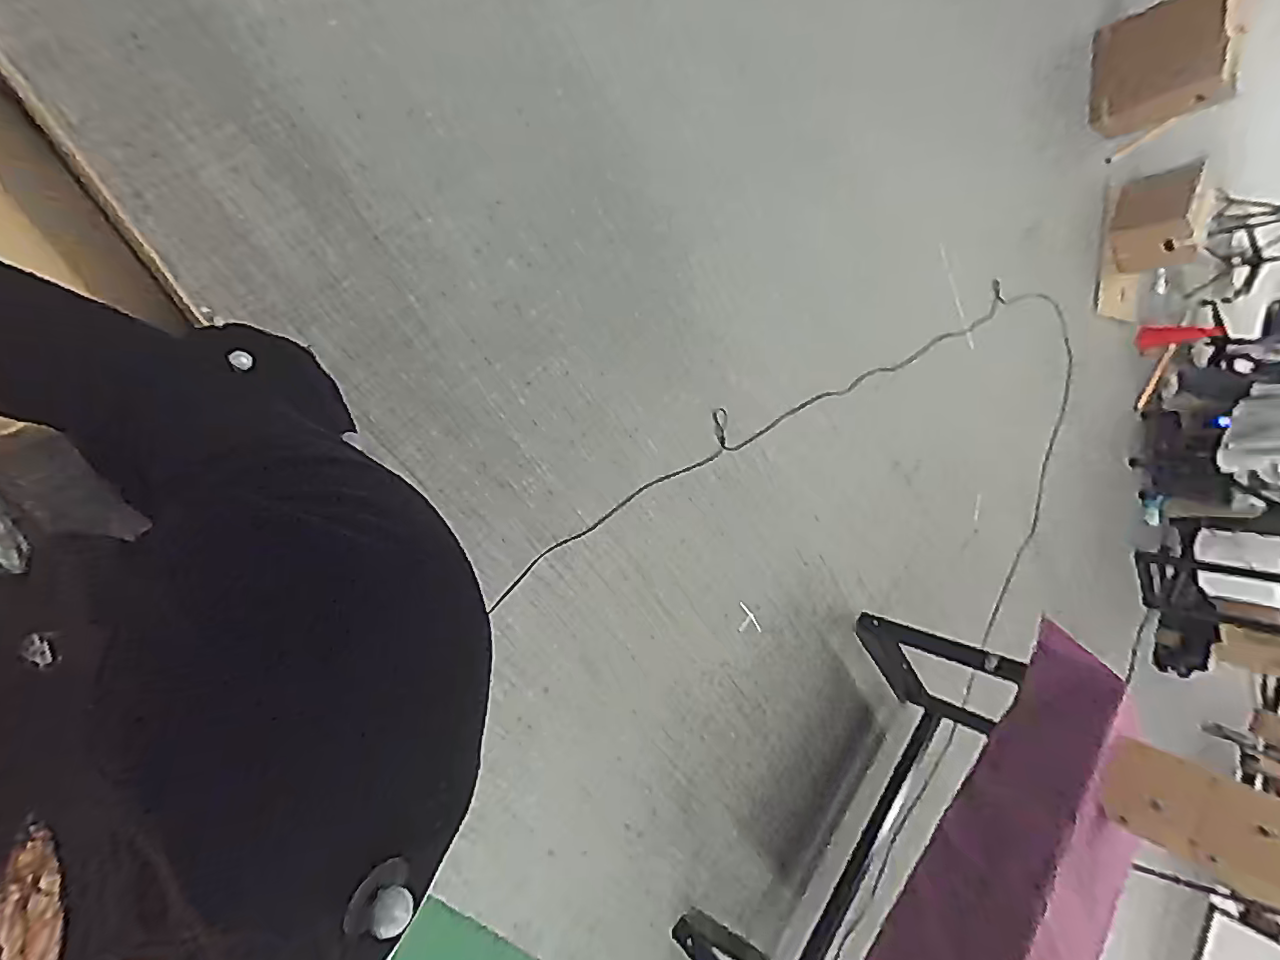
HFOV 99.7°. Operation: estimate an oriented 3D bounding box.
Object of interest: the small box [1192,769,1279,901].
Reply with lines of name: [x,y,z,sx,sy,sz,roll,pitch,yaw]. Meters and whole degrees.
small box: [1.341,0.781,1.181,0.179,0.176,0.168,-51,120,-19]
